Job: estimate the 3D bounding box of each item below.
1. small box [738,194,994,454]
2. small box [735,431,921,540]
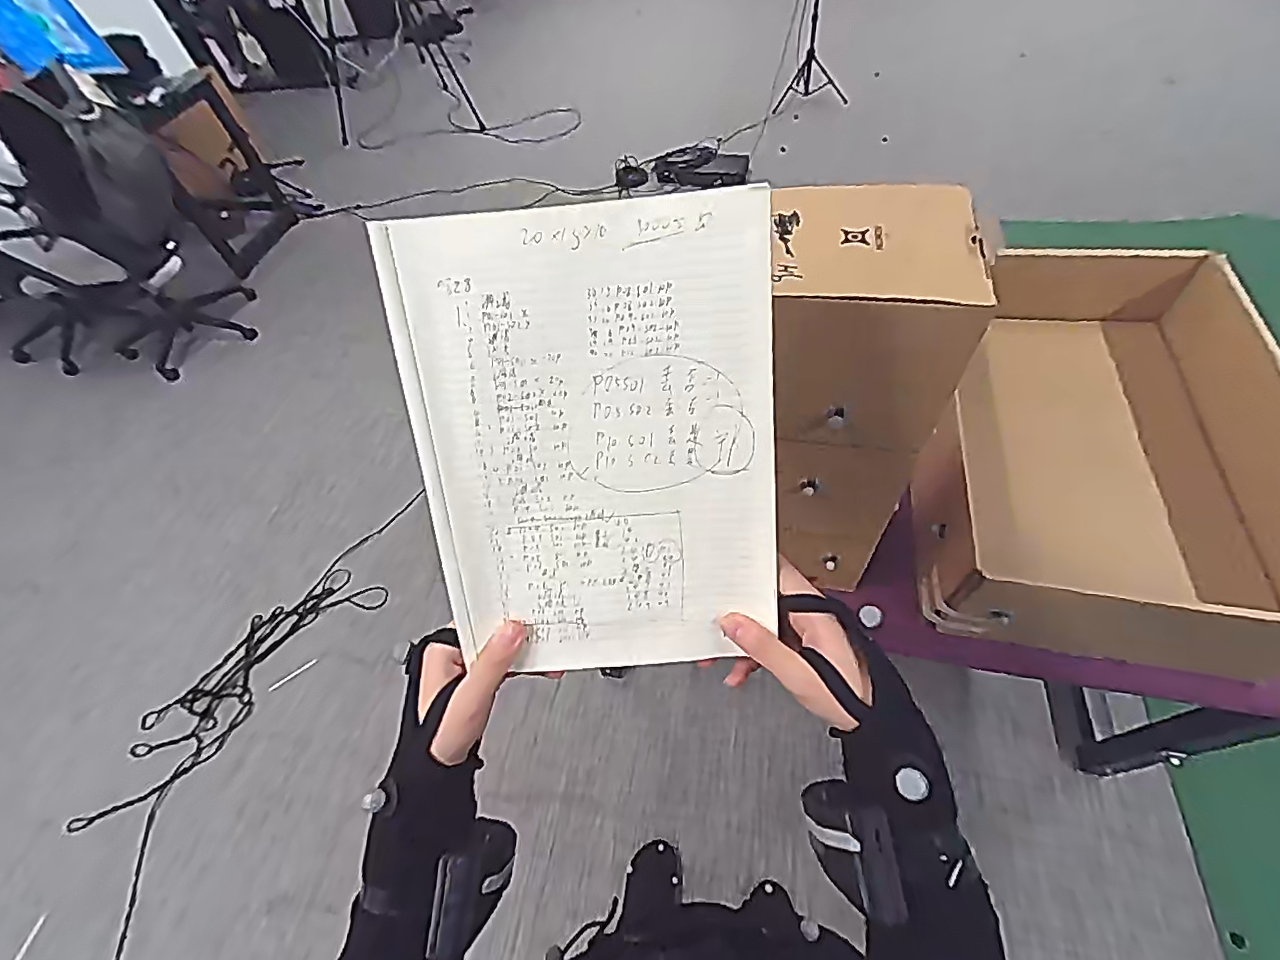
[{"bbox_3d":[0.193,-0.142,0.509,0.179,0.176,0.168,7,54,12],"label":"small box"},{"bbox_3d":[0.212,-0.045,0.641,0.179,0.176,0.168,7,54,14],"label":"small box"}]
